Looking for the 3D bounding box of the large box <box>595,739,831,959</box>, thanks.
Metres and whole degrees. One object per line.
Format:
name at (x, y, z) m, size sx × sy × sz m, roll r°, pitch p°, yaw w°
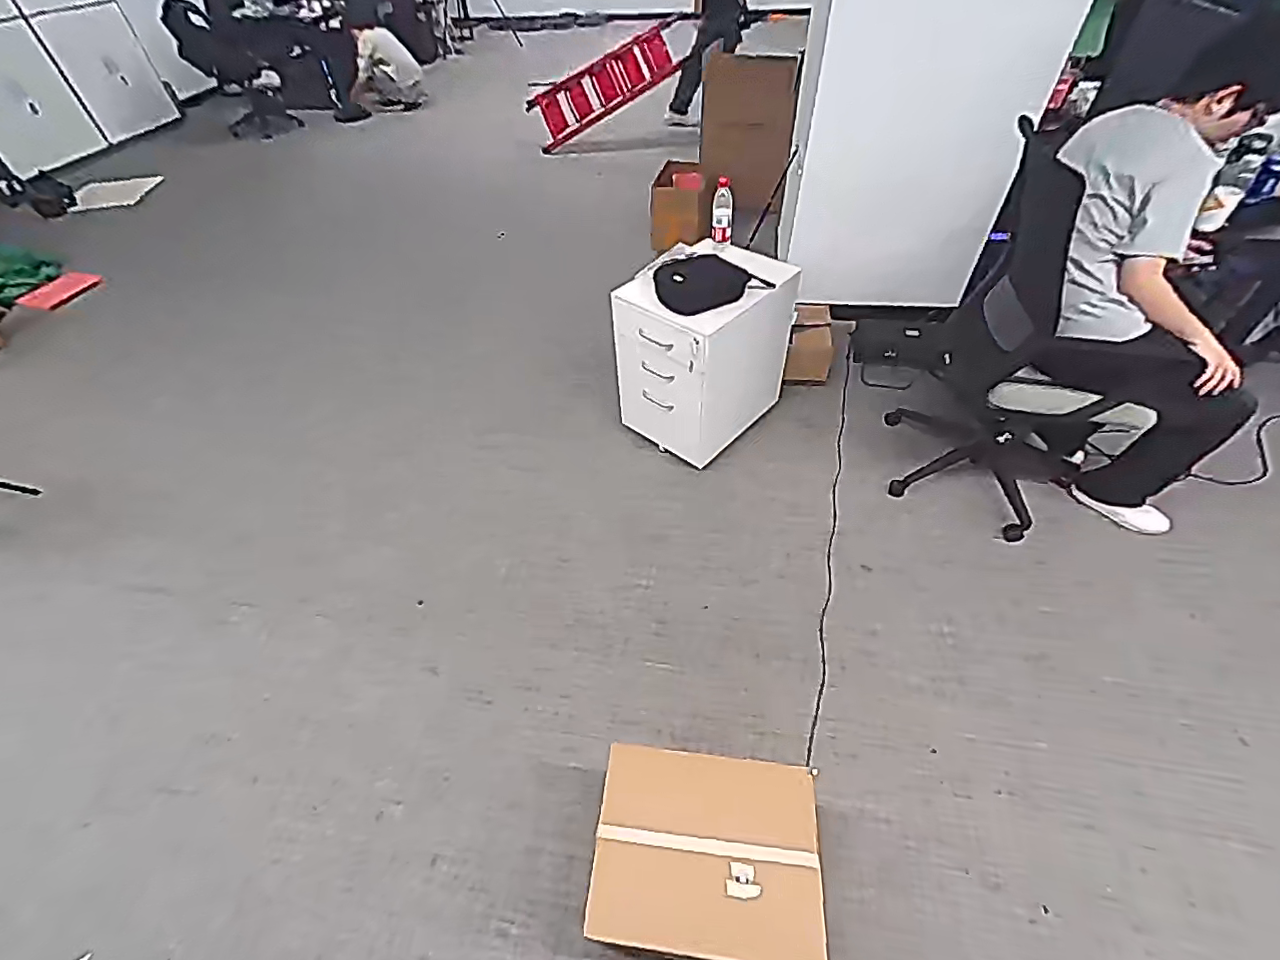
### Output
large box at (0.139, 0.763, 1.110) m, size 0.408 × 0.320 × 0.320 m, roll 5°, pitch 49°, yaw 7°
